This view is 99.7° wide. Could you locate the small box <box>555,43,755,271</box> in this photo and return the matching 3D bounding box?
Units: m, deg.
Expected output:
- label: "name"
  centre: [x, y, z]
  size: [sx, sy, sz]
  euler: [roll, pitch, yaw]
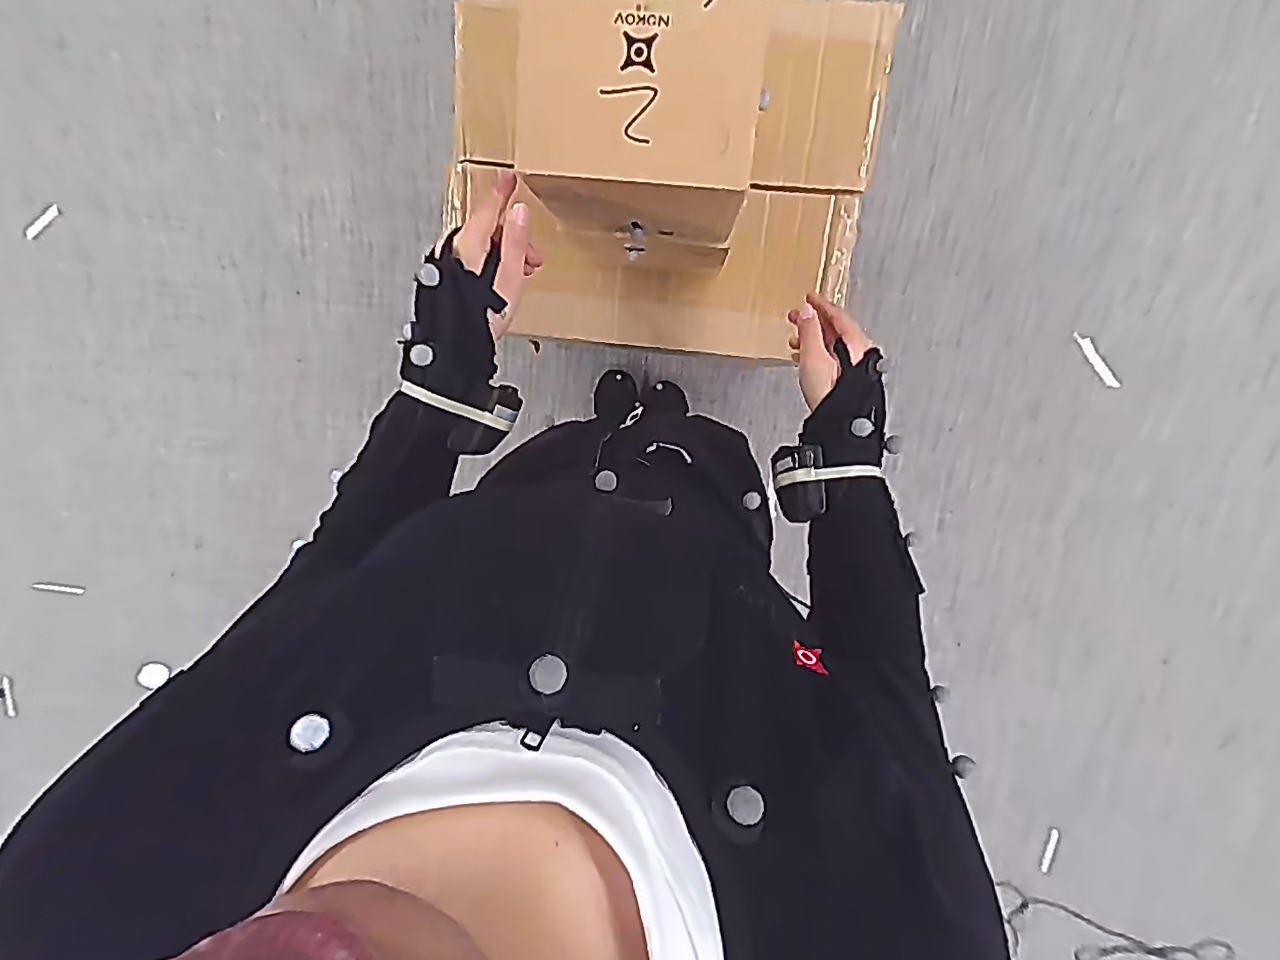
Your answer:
- label: "small box"
  centre: [0.017, -0.334, 0.594]
  size: [0.179, 0.176, 0.168]
  euler: [7, 102, 3]
